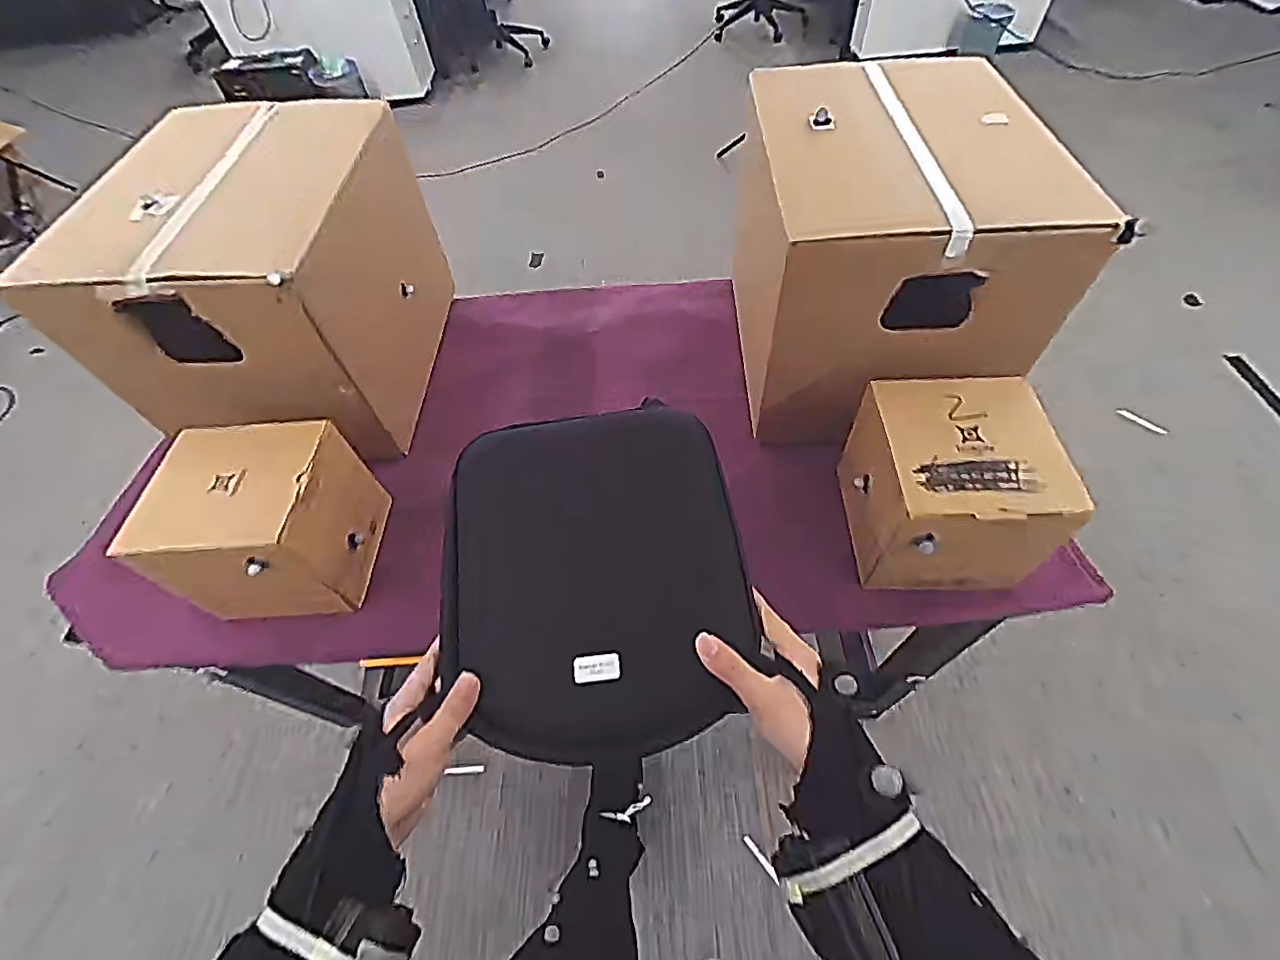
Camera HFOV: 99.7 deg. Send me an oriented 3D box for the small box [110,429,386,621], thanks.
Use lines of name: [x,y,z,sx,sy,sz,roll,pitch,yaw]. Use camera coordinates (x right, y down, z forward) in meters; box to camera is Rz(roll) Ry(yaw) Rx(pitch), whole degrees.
small box: [-0.440,0.059,0.645,0.179,0.176,0.168,-4,54,1]

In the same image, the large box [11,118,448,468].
large box: [-0.503,-0.261,0.787,0.320,0.320,0.408,-3,57,1]
